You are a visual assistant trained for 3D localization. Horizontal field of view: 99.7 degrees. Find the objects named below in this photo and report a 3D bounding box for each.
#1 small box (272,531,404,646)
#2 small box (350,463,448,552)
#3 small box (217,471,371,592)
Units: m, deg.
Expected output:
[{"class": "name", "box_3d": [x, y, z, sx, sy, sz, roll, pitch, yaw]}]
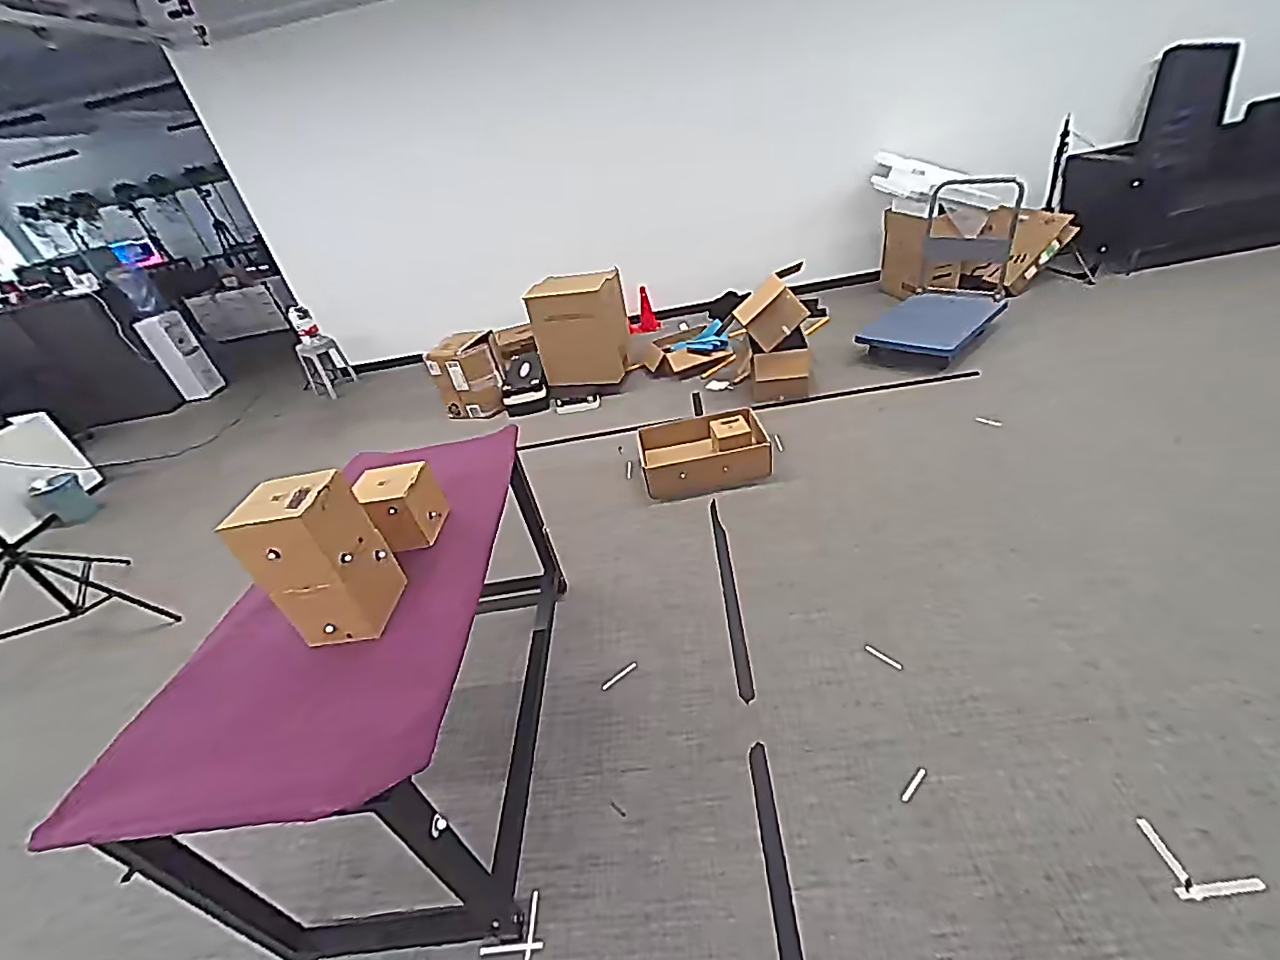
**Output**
[{"class": "small box", "box_3d": [-0.652, 0.238, 1.196, 0.168, 0.176, 0.179, -9, 34, 6]}, {"class": "small box", "box_3d": [-0.639, 0.078, 1.428, 0.179, 0.176, 0.168, -9, 34, 6]}, {"class": "small box", "box_3d": [-0.690, 0.106, 1.107, 0.179, 0.176, 0.168, -10, 33, 5]}]
